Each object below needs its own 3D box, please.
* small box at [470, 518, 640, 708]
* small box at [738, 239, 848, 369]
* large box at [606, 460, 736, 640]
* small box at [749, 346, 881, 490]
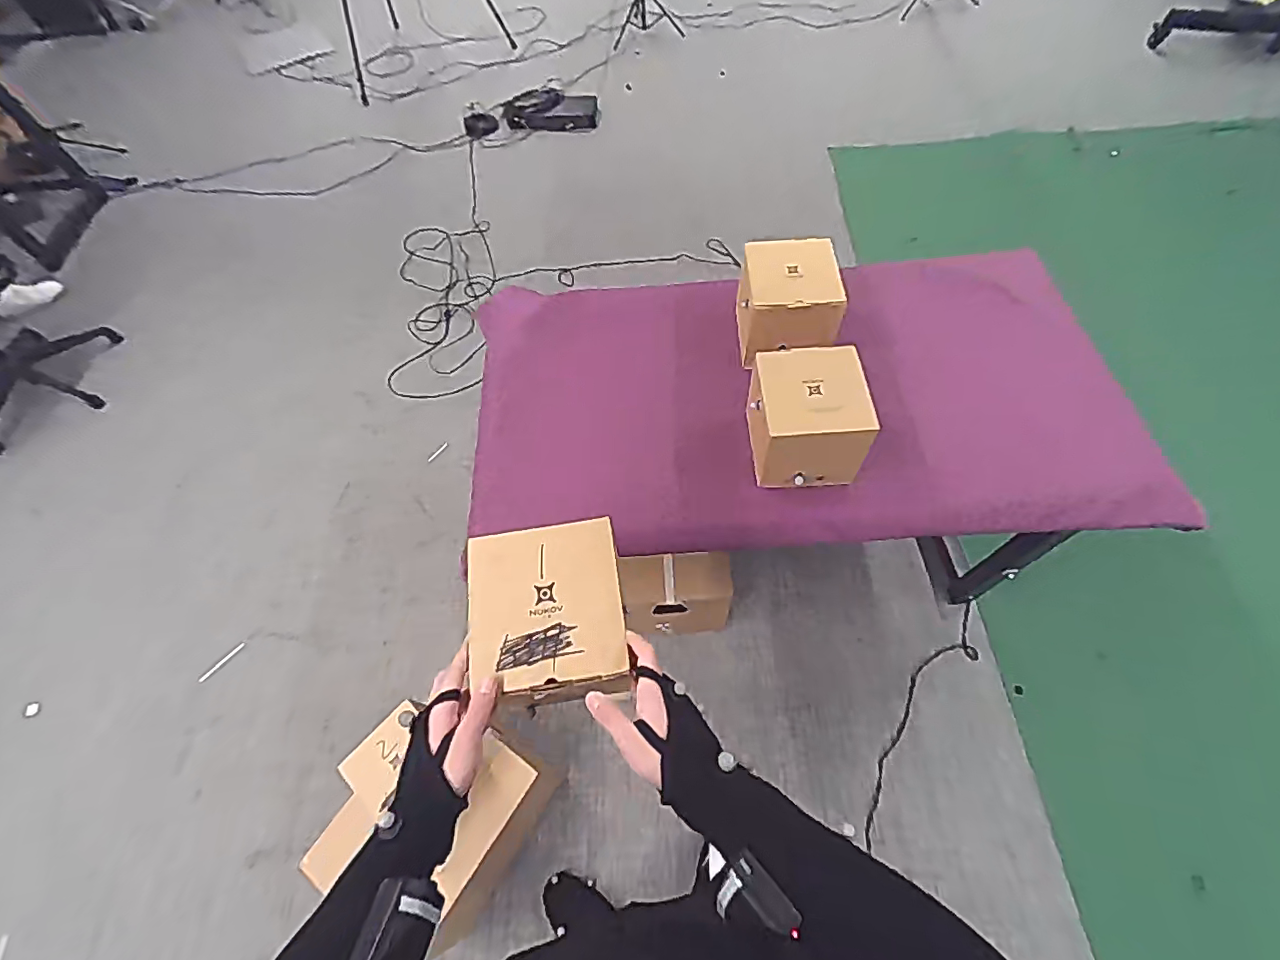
[{"bbox_3d":[-0.094,0.166,0.643,0.168,0.176,0.179,-9,63,-2],"label":"small box"},{"bbox_3d":[0.285,-0.338,1.051,0.168,0.176,0.179,-2,61,3],"label":"small box"},{"bbox_3d":[0.080,0.204,1.521,0.320,0.320,0.408,-4,59,2],"label":"large box"},{"bbox_3d":[0.281,-0.100,0.912,0.168,0.176,0.179,-3,59,4],"label":"small box"}]
